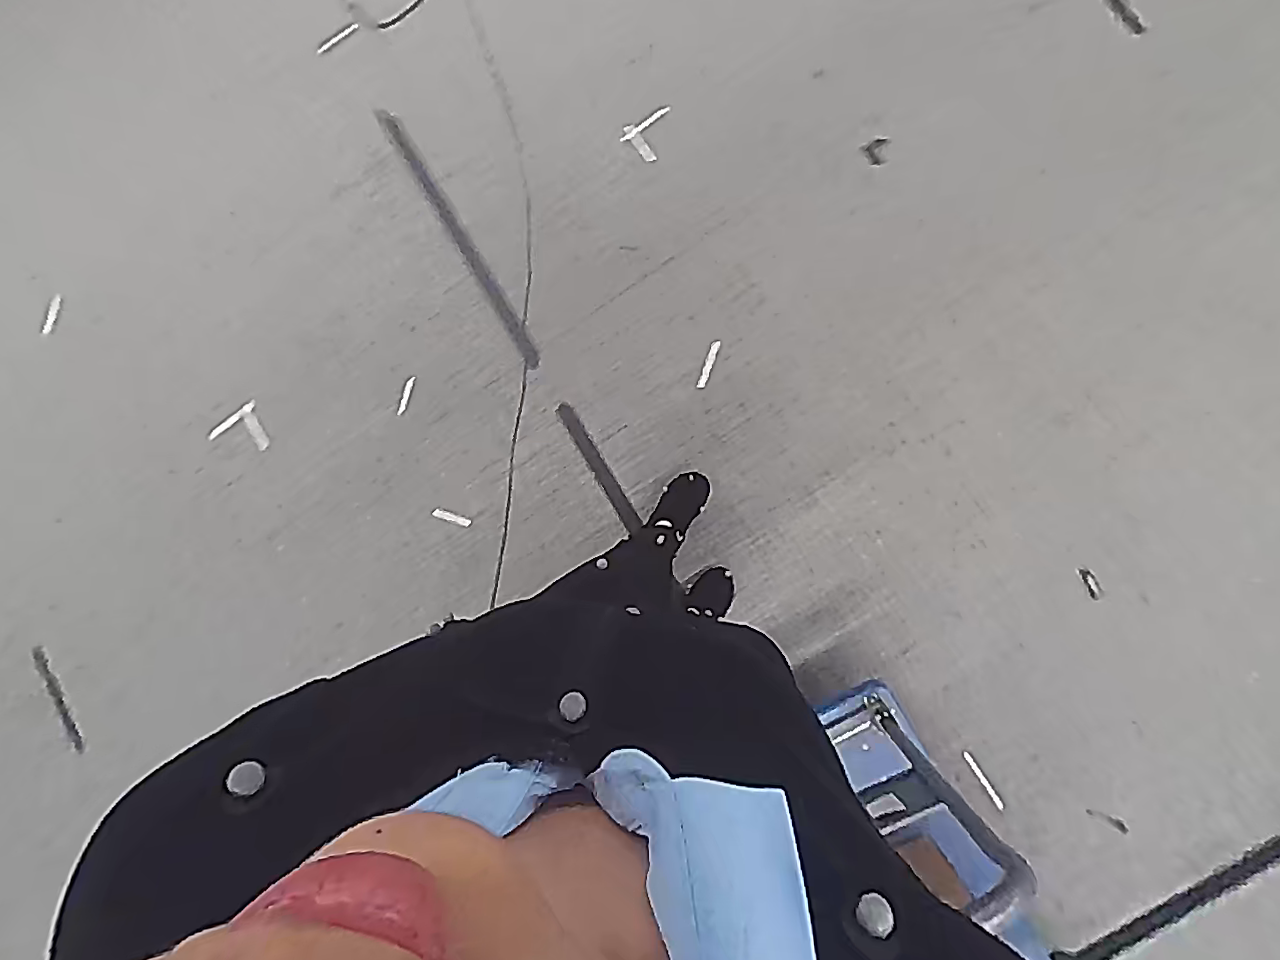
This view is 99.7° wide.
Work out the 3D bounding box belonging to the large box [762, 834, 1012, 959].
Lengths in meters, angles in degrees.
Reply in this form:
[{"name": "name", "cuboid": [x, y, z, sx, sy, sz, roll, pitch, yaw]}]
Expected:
[{"name": "large box", "cuboid": [0.490, 0.972, 1.018, 0.408, 0.320, 0.320, -28, 83, 4]}]
